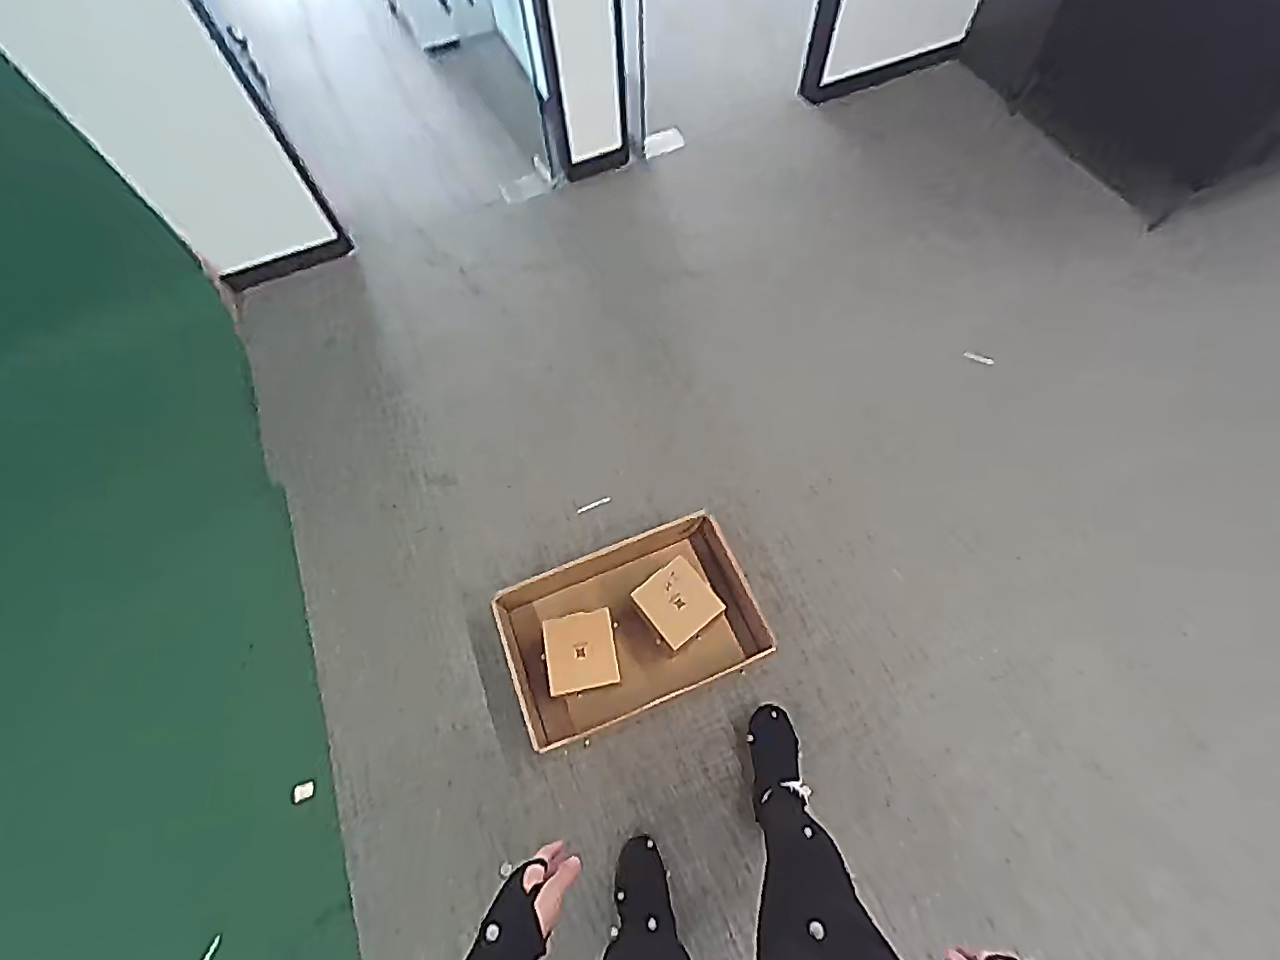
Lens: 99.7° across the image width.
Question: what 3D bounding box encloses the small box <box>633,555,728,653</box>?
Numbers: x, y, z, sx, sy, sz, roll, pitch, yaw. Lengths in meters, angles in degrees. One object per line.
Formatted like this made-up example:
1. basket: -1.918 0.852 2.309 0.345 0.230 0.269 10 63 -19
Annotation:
1. small box: 0.102 0.325 1.388 0.168 0.176 0.179 -35 68 -14

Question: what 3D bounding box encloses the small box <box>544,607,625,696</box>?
1. small box: -0.134 0.434 1.346 0.168 0.176 0.179 -10 63 -4
